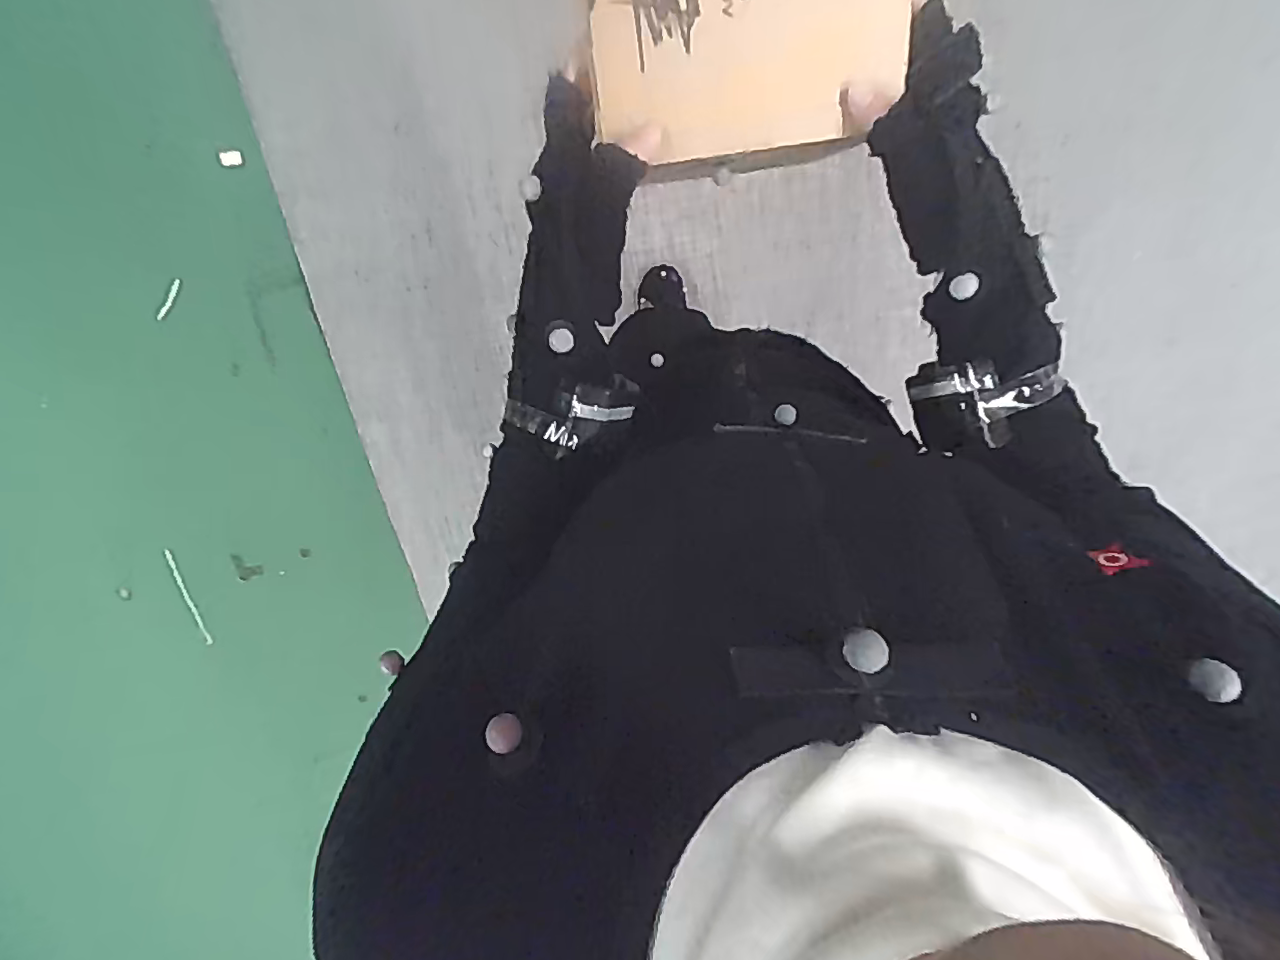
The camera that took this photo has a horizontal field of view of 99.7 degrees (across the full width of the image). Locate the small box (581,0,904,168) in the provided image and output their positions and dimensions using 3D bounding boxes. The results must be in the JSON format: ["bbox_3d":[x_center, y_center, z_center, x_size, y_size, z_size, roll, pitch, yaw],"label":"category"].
[{"bbox_3d":[0.054,-0.313,0.354,0.179,0.176,0.168,-6,116,3],"label":"small box"}]
